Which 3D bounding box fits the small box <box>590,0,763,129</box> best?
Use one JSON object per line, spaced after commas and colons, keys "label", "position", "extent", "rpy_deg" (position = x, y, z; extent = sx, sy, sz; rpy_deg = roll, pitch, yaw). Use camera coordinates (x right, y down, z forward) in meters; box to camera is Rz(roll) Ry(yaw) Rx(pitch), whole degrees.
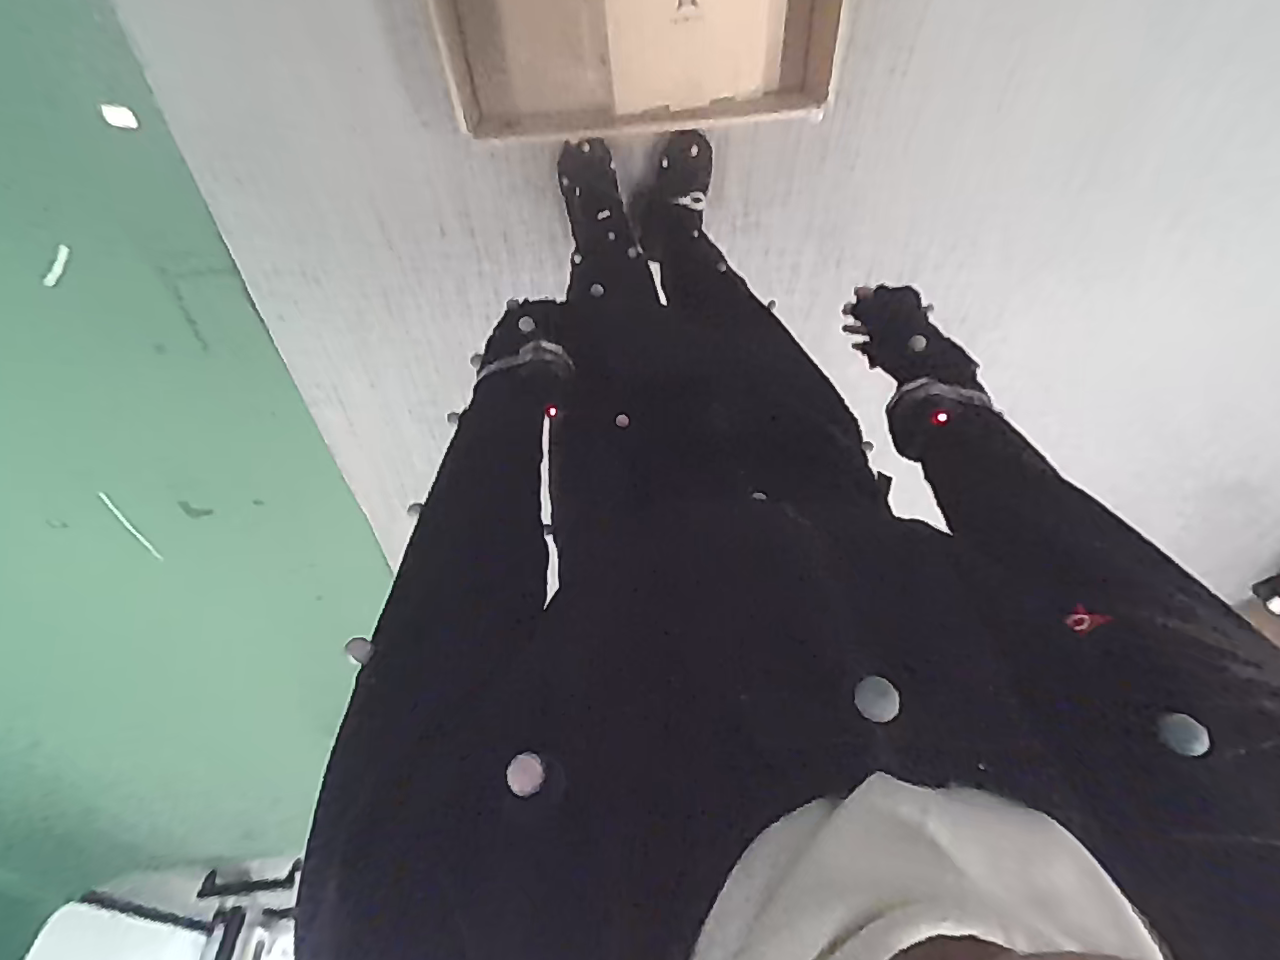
{"label": "small box", "position": [0.034, -0.514, 0.599], "extent": [0.168, 0.176, 0.179], "rpy_deg": [-9, 131, -2]}
